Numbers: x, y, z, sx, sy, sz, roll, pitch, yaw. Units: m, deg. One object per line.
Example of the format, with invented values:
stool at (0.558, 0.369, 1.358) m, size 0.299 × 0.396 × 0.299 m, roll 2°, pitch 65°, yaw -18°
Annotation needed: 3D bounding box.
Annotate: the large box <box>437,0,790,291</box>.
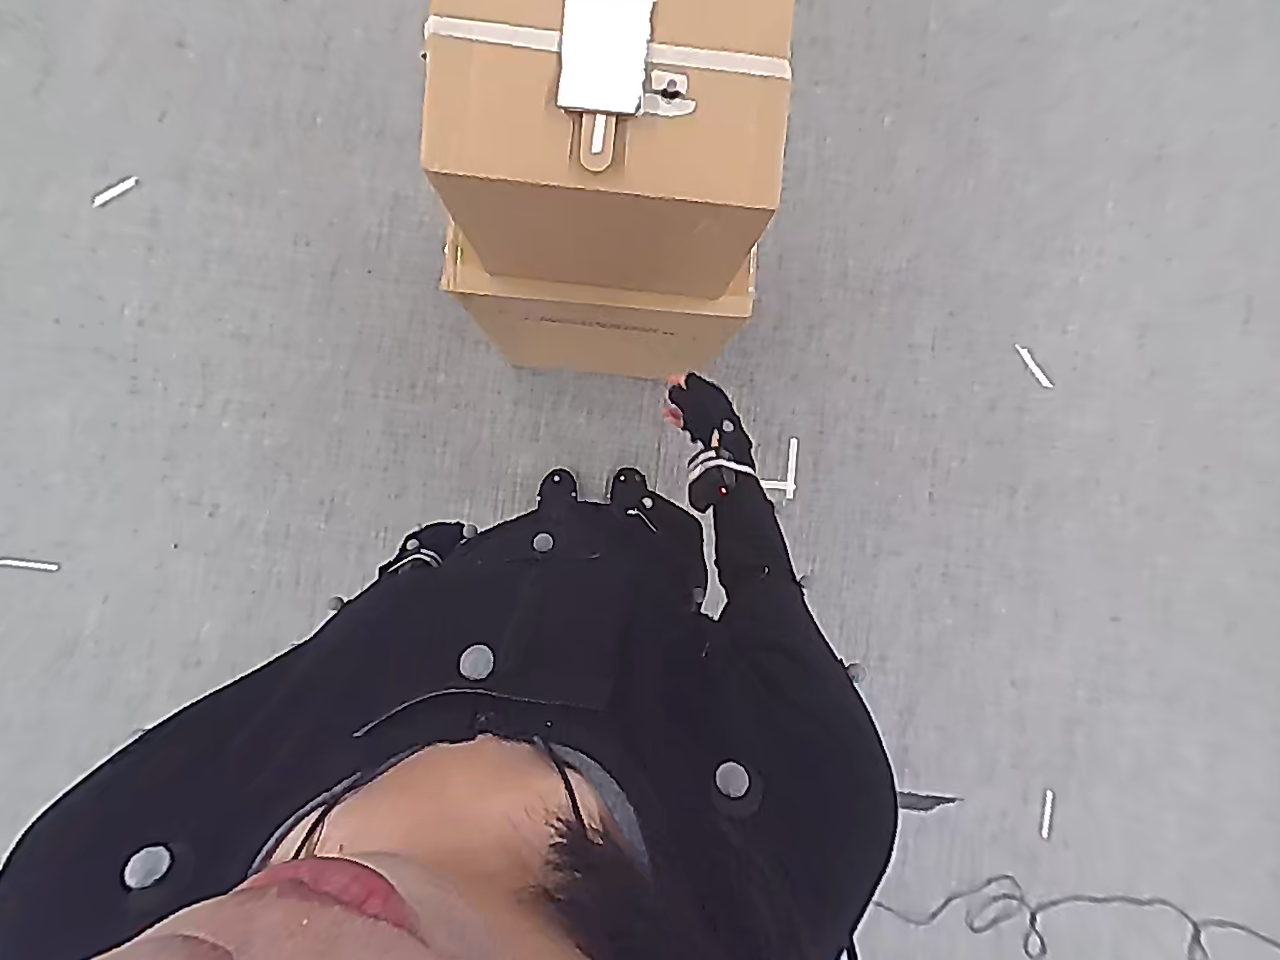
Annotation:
large box at (-0.038, -0.487, 0.772) m, size 0.408 × 0.320 × 0.320 m, roll 4°, pitch 90°, yaw -4°
